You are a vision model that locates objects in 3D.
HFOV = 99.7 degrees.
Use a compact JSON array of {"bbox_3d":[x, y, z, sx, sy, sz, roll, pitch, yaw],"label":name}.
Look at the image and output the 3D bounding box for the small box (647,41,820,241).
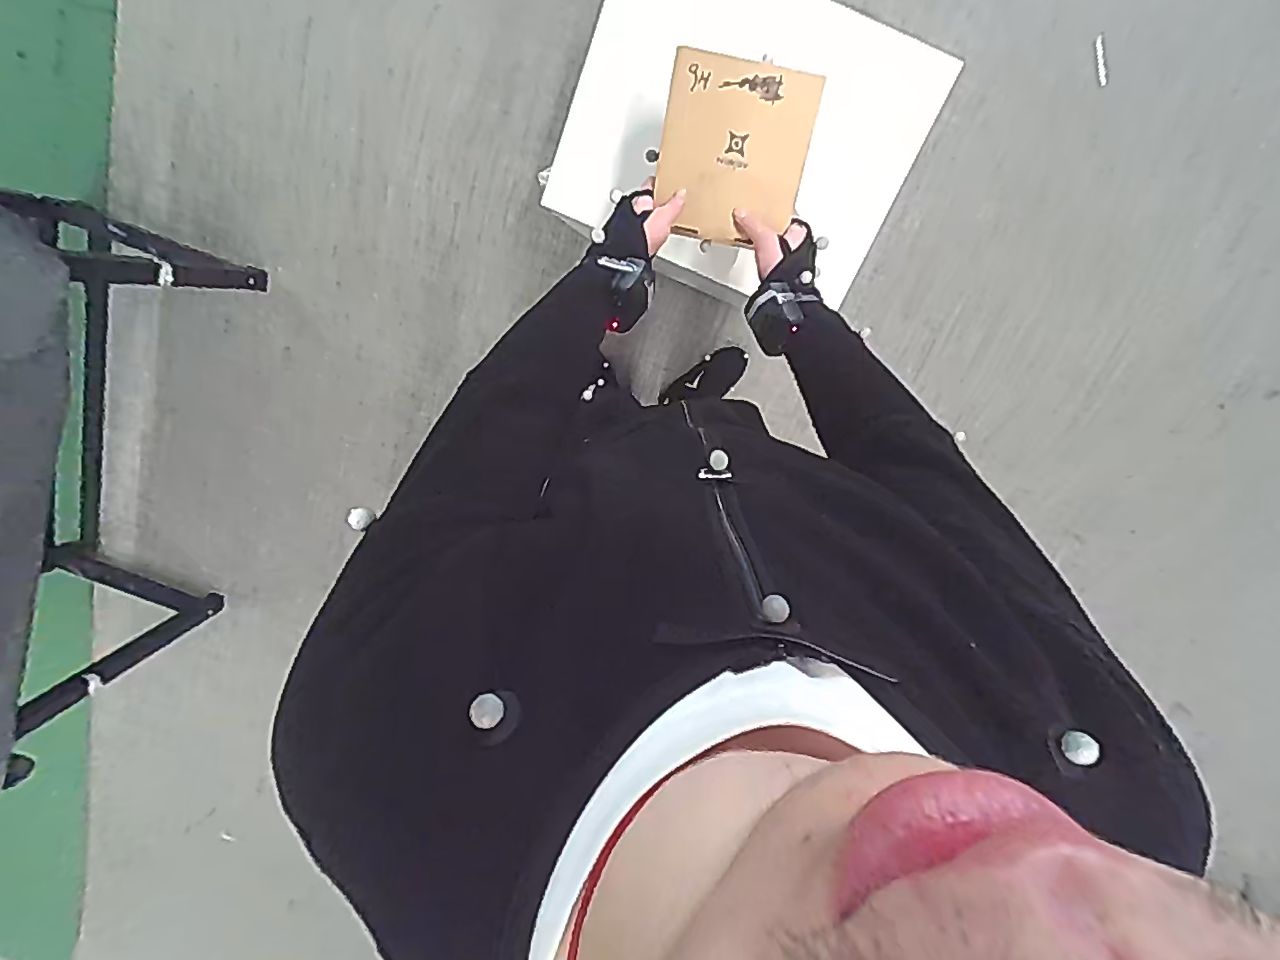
[{"bbox_3d":[0.103,-0.405,0.680,0.168,0.176,0.179,7,112,-2],"label":"small box"}]
